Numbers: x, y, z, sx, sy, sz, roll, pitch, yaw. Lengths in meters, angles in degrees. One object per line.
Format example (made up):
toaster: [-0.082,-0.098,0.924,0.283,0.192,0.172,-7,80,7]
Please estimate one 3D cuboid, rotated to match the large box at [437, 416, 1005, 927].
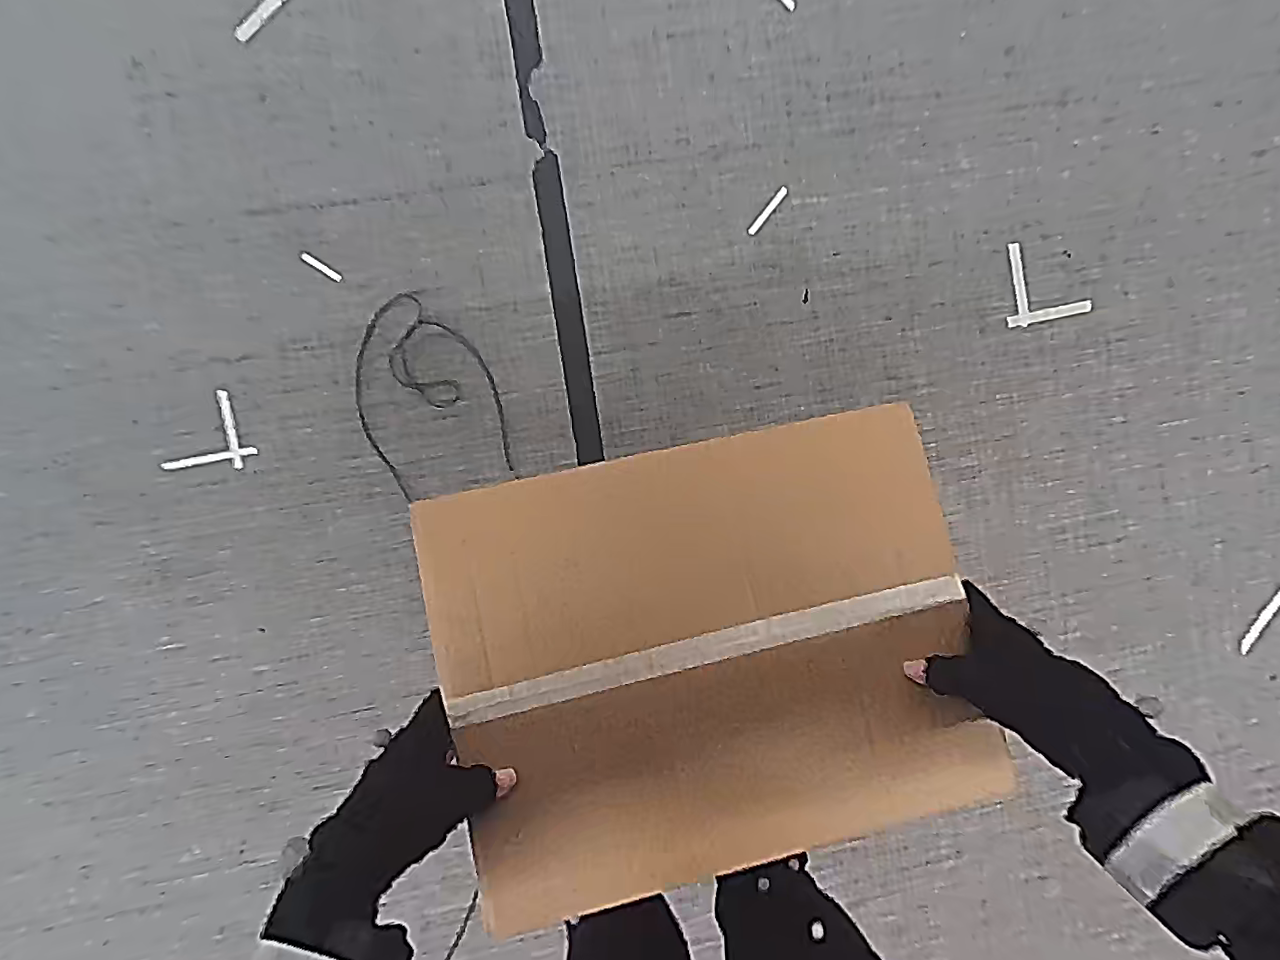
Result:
large box: [0.053,0.155,0.572,0.408,0.320,0.320,-12,84,-6]
